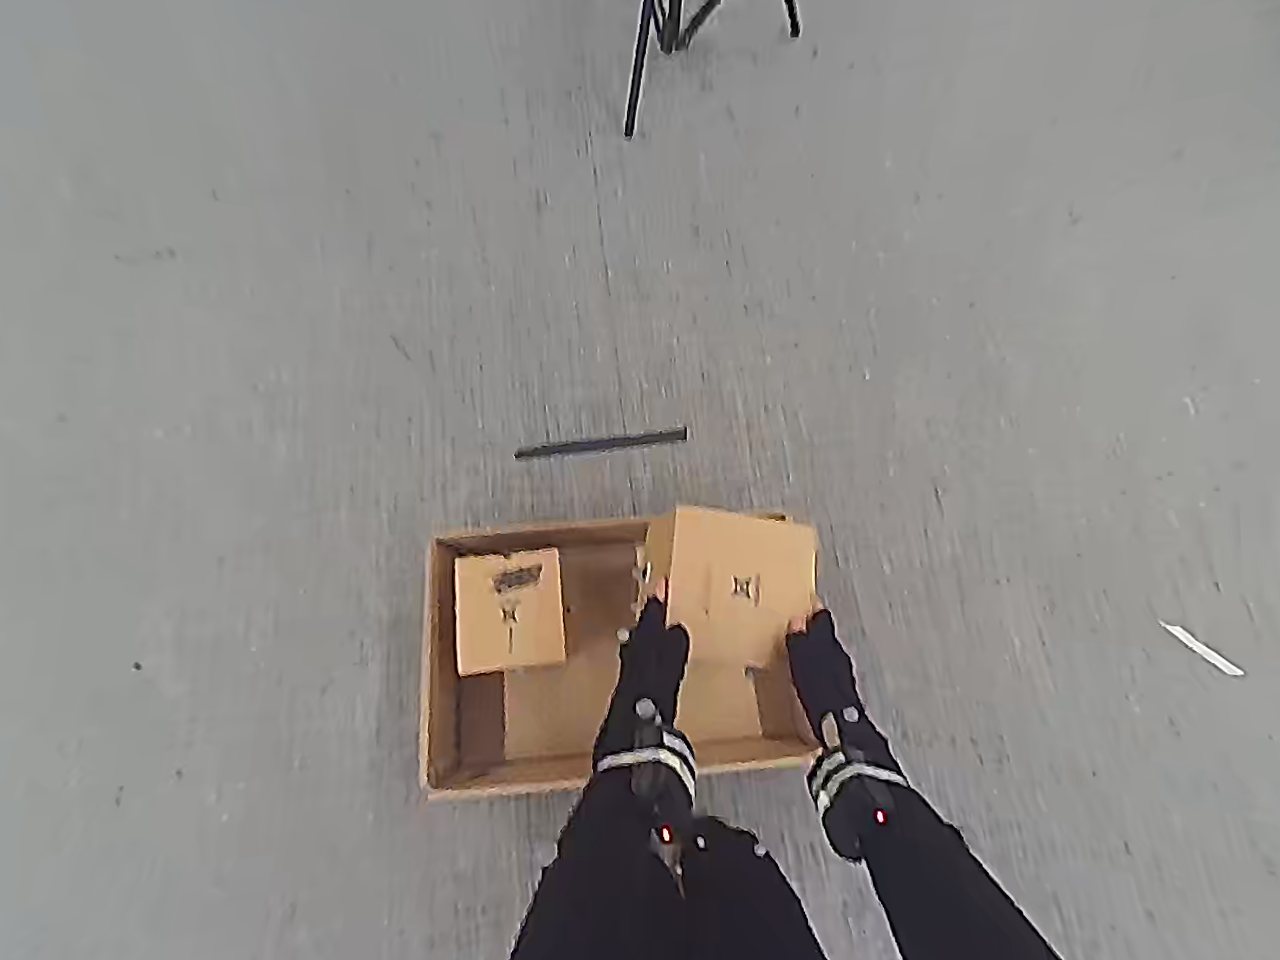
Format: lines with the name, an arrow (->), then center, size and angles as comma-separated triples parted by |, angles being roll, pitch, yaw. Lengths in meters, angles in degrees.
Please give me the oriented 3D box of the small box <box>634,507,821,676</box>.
small box -> 0.101, 0.140, 0.667 | 0.179, 0.176, 0.168 | 9, 73, -10
